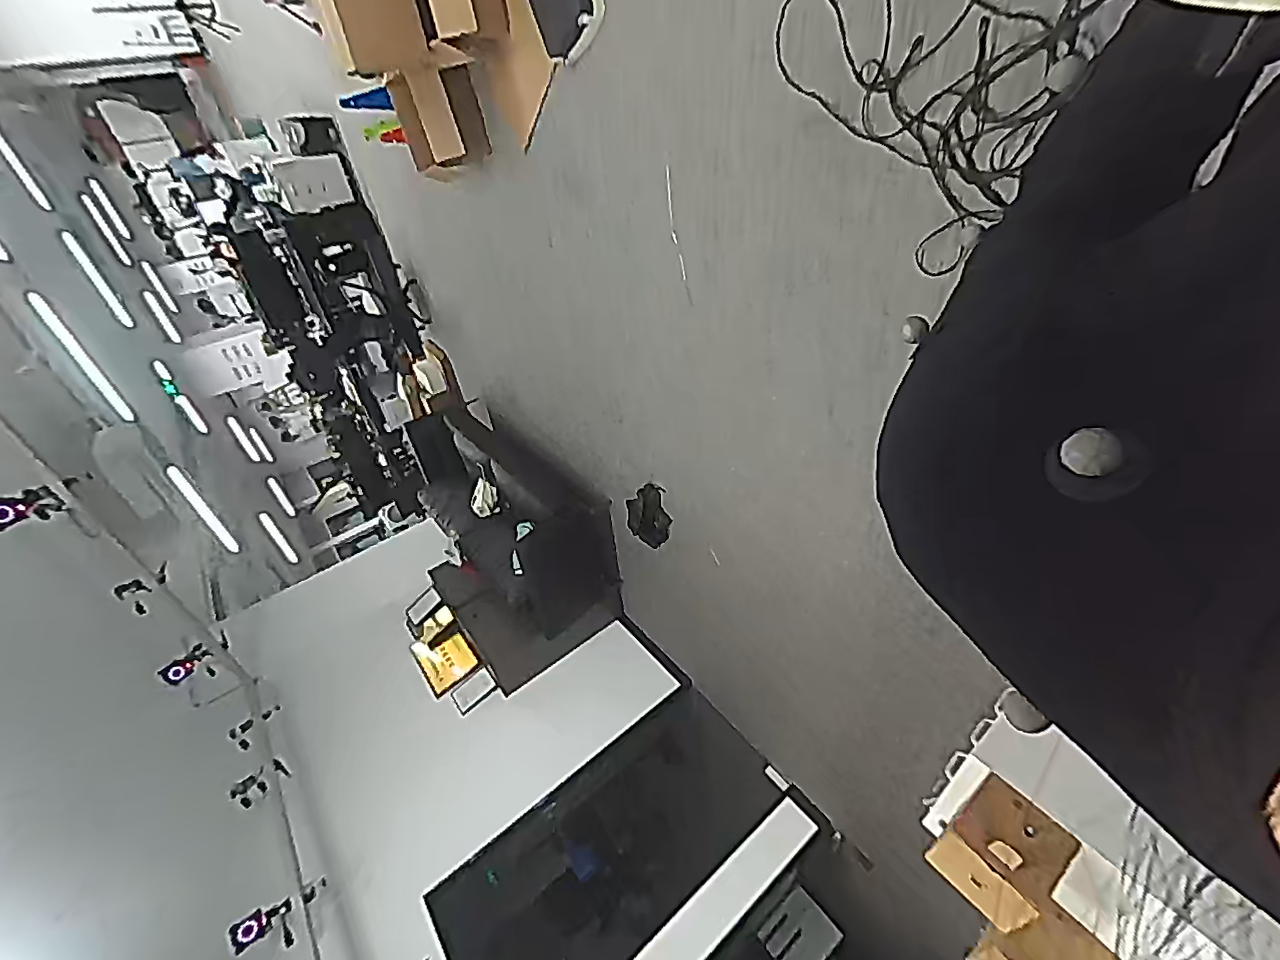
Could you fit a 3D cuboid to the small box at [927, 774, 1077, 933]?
[{"bbox_3d":[0.705,0.726,1.059,0.168,0.176,0.179,38,146,39],"label":"small box"}]
